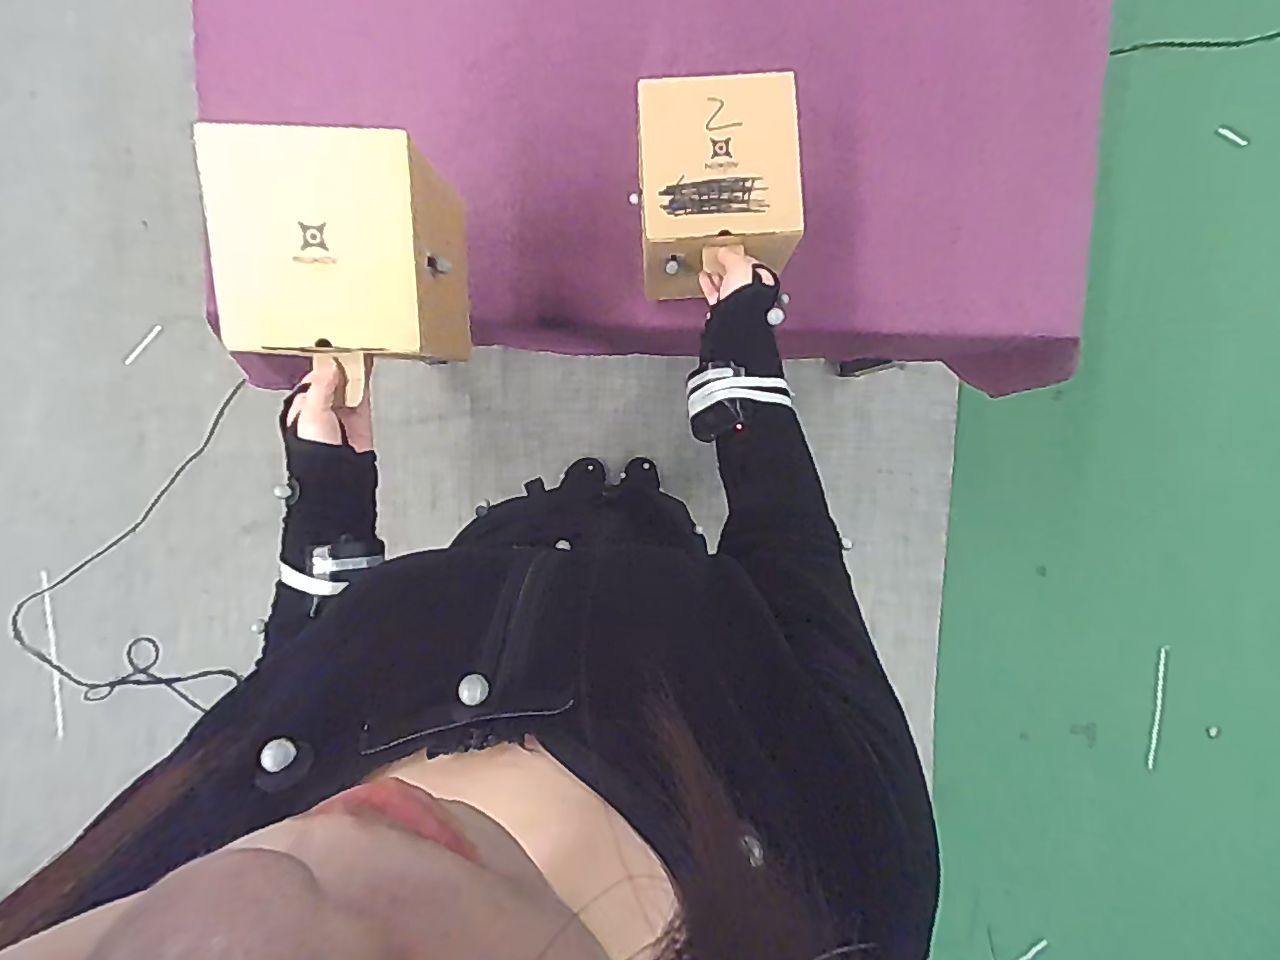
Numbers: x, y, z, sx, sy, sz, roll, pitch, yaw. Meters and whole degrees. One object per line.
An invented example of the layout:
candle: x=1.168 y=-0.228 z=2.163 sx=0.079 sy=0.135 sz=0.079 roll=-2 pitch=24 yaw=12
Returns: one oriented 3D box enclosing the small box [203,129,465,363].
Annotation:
small box: x=-0.276 y=-0.209 z=0.531 sx=0.168 sy=0.176 sz=0.179 roll=0 pitch=101 yaw=-4
